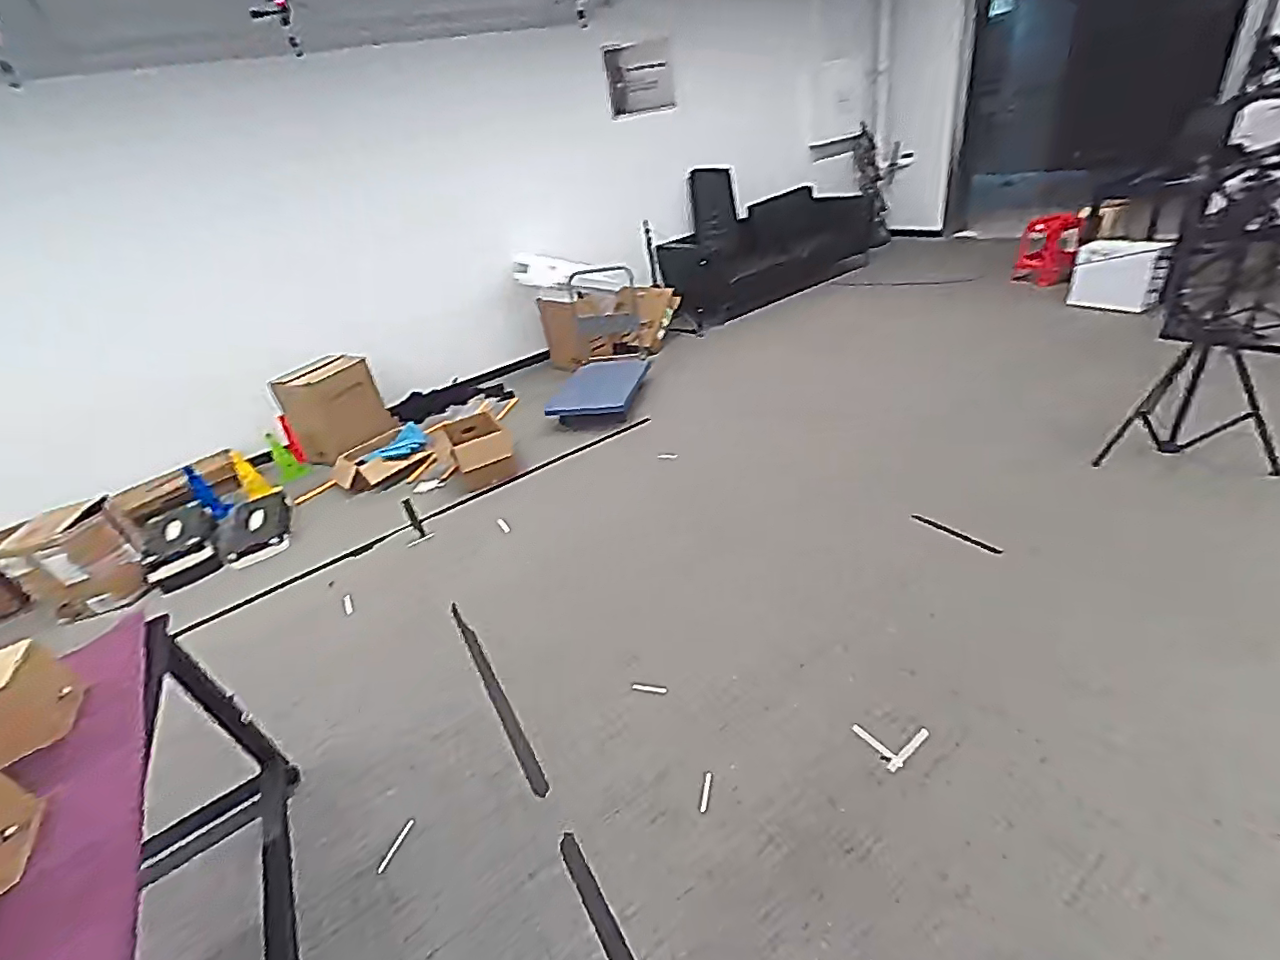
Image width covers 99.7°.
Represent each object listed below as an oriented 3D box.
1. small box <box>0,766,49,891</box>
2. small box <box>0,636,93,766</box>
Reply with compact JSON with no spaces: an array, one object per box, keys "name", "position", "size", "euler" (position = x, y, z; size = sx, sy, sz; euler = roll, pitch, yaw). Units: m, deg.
[{"name":"small box","position":[-1.145,0.599,0.876],"size":[0.179,0.176,0.168],"euler":[-27,34,-23]},{"name":"small box","position":[-1.328,0.474,1.134],"size":[0.179,0.176,0.168],"euler":[-27,35,-21]}]
